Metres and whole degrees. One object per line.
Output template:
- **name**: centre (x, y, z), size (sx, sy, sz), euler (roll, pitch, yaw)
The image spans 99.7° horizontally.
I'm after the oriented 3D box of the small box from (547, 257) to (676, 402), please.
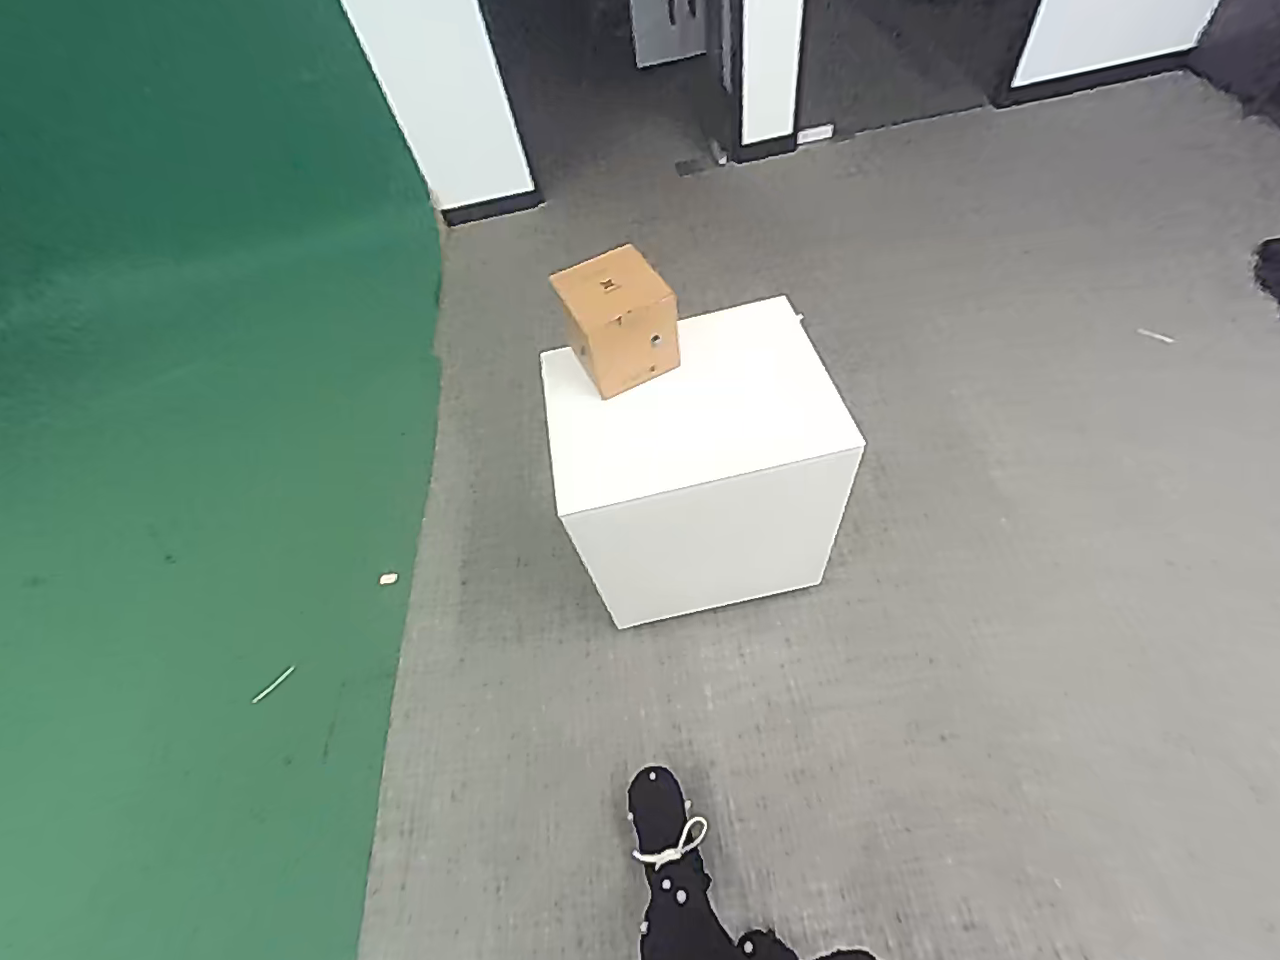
- **small box**: centre (-0.046, -0.265, 0.985), size (0.168, 0.176, 0.179), euler (-26, 55, -10)
